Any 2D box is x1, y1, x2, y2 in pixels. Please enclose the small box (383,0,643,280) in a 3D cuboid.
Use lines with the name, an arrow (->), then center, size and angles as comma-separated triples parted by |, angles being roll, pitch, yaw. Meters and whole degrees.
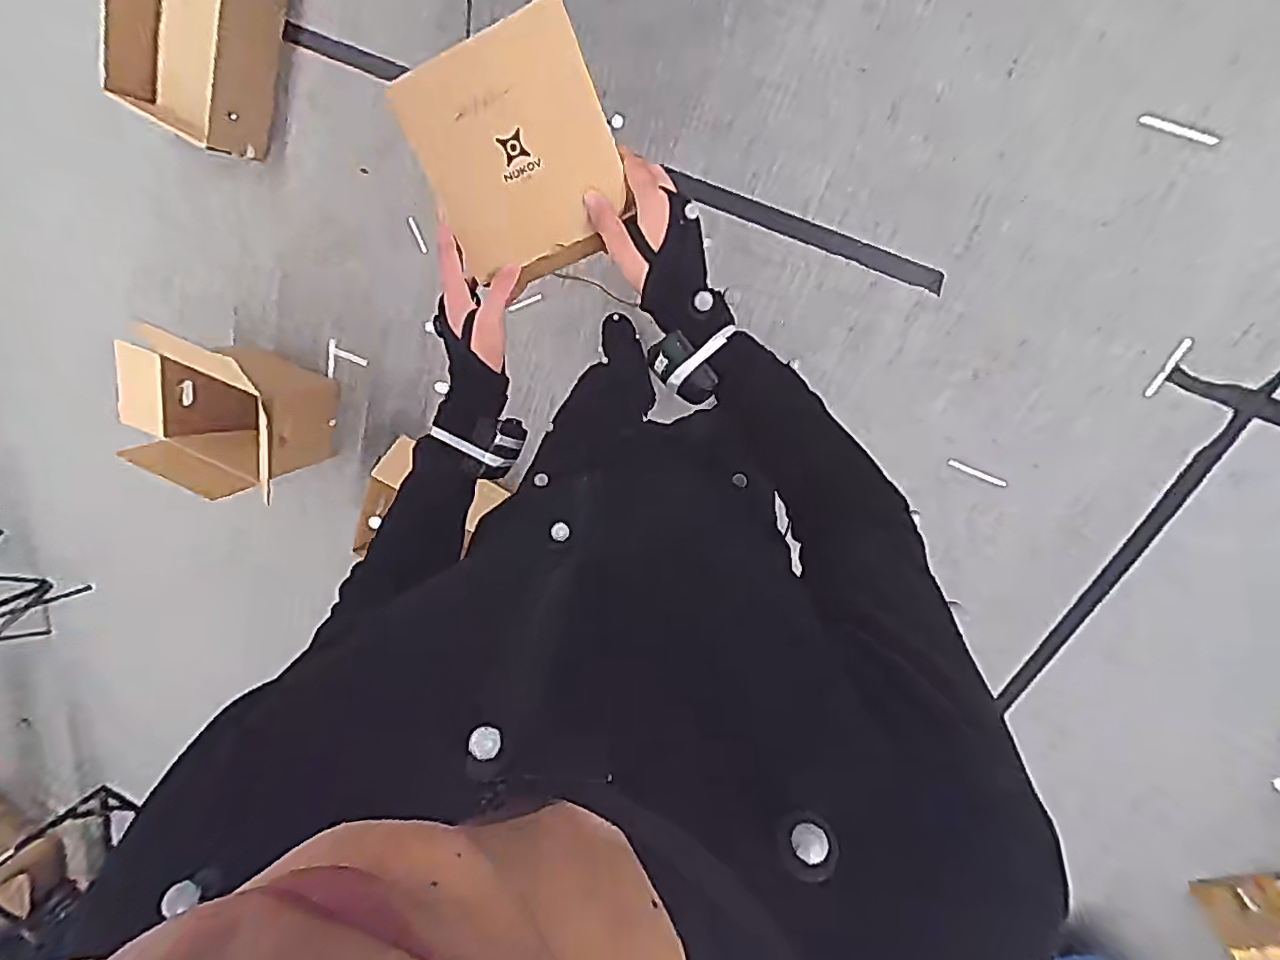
small box -> -0.101, -0.317, 0.531 | 0.168, 0.176, 0.179 | -19, 111, 11
